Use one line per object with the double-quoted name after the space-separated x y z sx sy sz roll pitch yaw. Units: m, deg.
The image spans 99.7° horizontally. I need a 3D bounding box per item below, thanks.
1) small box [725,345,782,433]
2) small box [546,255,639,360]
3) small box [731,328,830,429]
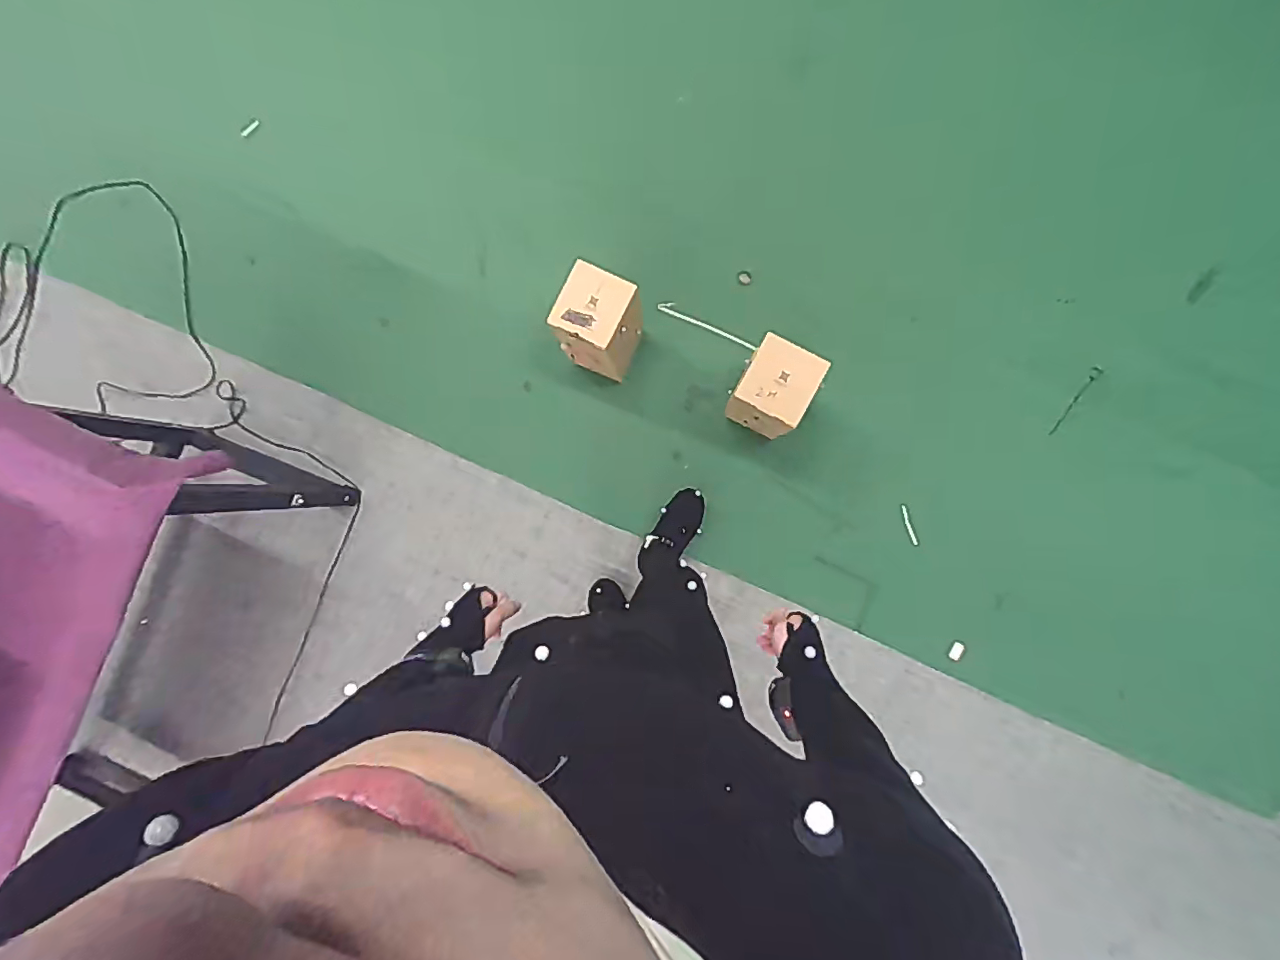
0.348 -0.247 1.502 0.168 0.176 0.179 27 92 4 "small box"
-0.111 -0.428 1.374 0.168 0.176 0.179 27 90 5 "small box"
0.337 -0.243 1.338 0.168 0.176 0.179 29 92 4 "small box"
